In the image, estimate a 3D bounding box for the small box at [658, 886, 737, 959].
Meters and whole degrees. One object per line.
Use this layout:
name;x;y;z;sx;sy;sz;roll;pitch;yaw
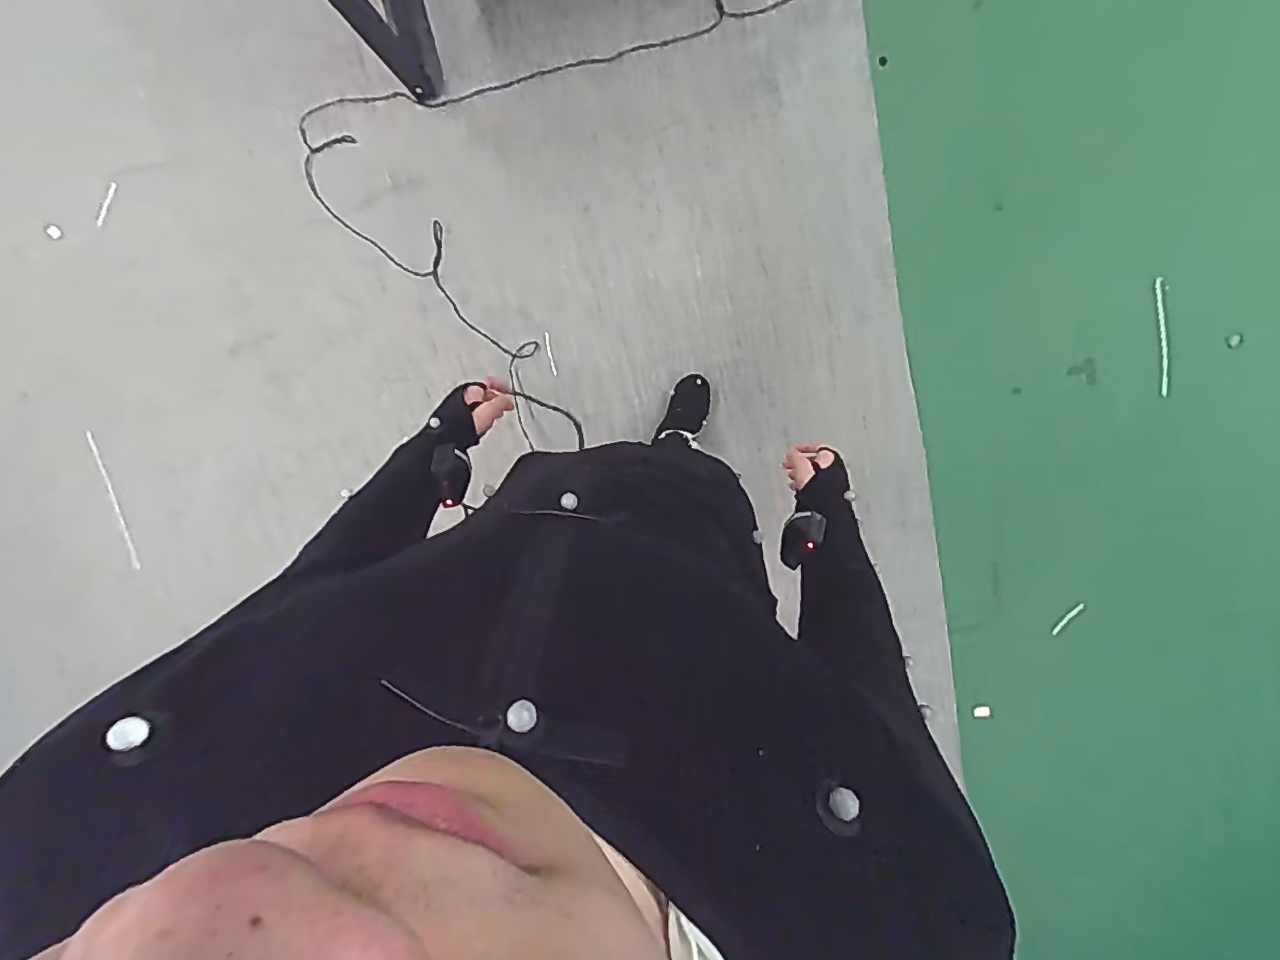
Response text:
small box;0.138;1.106;1.285;0.179;0.176;0.168;-6;98;5
